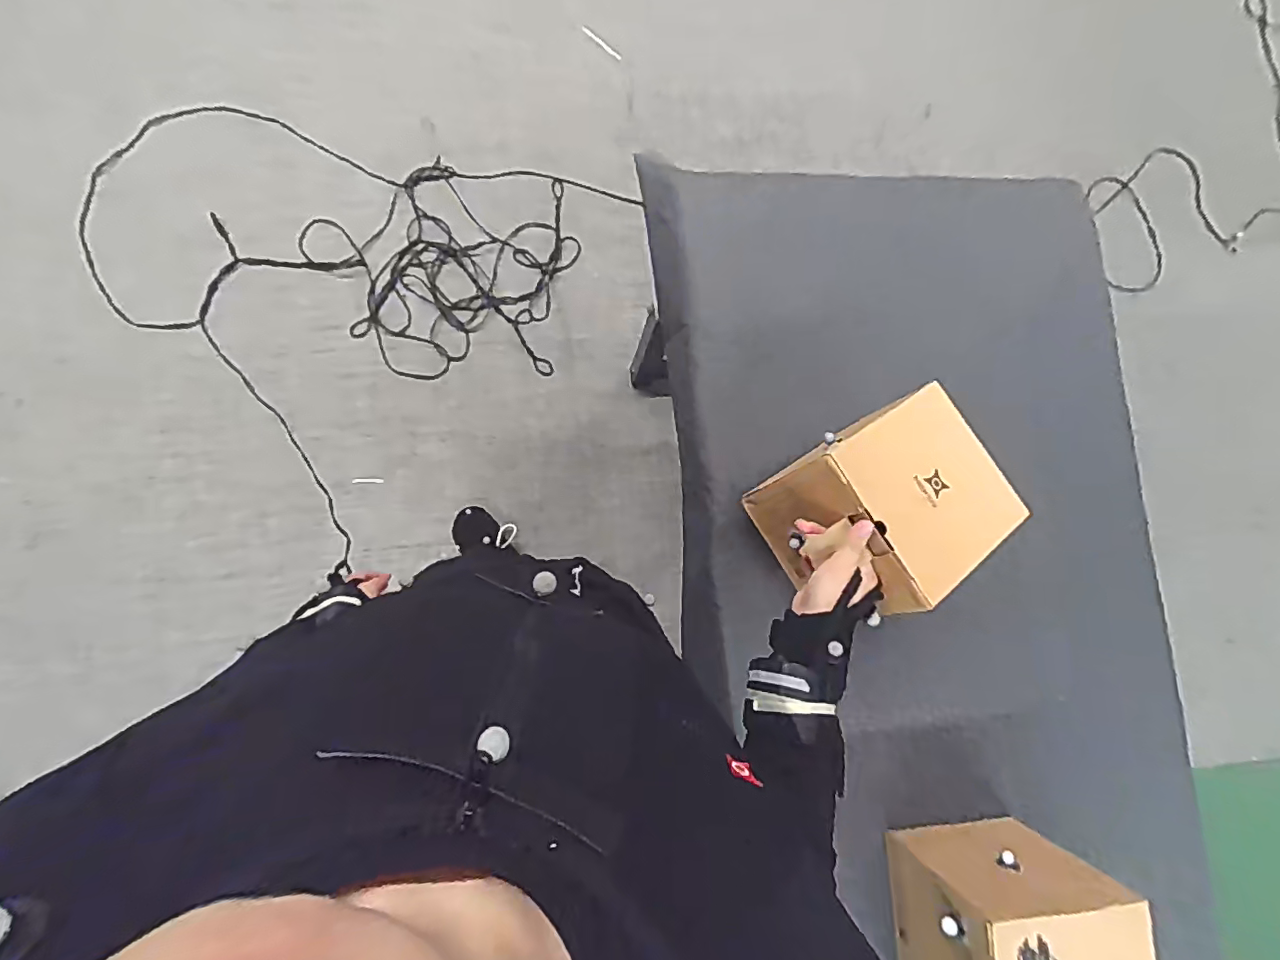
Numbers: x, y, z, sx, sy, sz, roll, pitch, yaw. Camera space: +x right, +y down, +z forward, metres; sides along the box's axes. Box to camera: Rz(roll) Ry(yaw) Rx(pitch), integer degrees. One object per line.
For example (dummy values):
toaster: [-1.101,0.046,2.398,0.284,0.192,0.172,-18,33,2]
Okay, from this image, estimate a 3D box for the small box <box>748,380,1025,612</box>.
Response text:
small box: [0.252,0.025,0.585,0.179,0.176,0.168,-31,85,-24]
